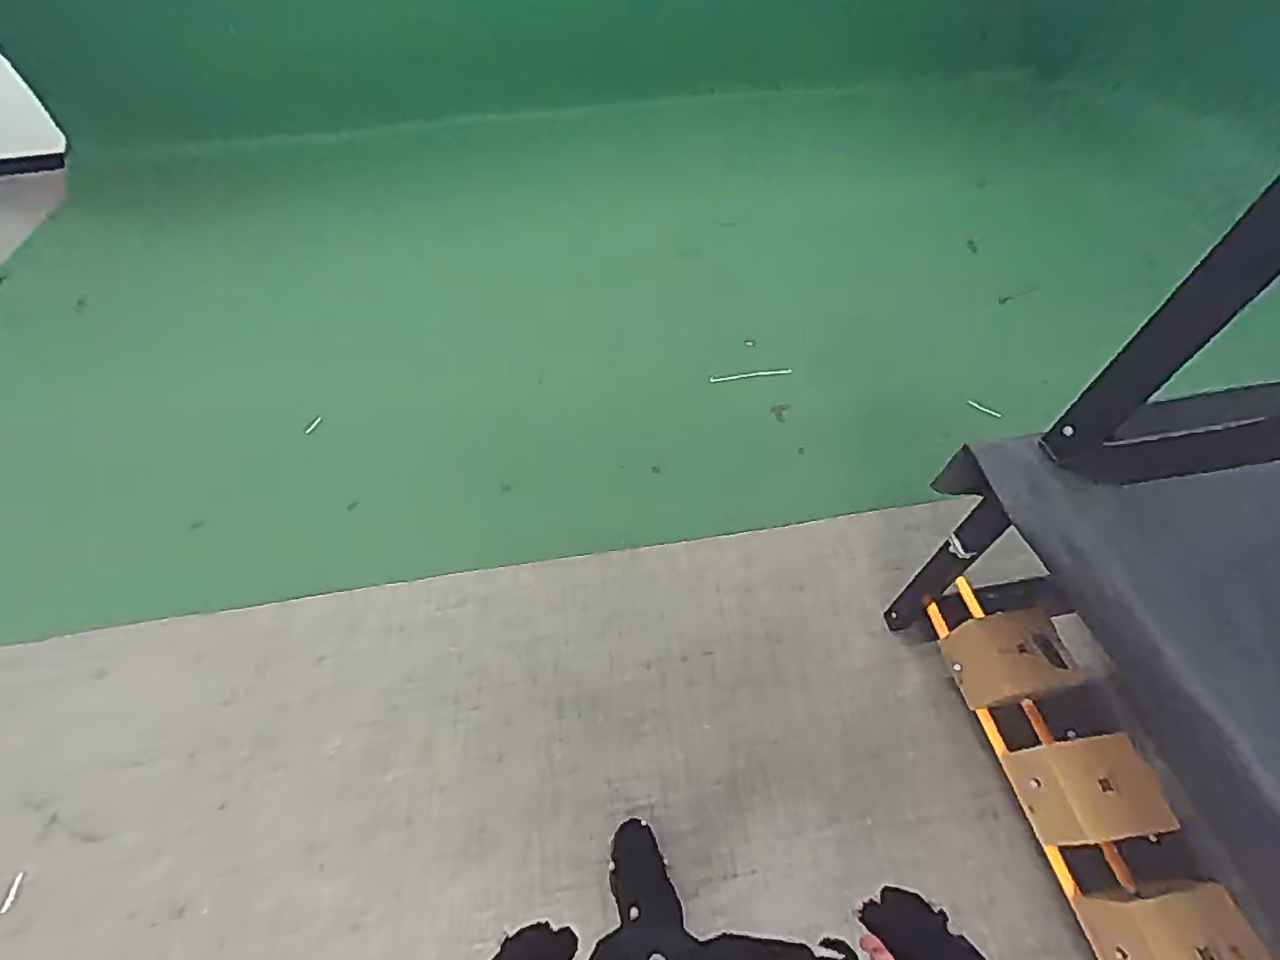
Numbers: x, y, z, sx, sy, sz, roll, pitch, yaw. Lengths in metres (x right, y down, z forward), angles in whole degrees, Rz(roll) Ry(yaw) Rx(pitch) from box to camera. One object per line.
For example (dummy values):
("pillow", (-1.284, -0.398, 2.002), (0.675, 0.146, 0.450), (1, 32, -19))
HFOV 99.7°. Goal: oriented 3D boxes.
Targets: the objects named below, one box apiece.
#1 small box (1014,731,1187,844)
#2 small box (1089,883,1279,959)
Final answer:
("small box", (0.890, 0.615, 1.075), (0.179, 0.176, 0.168), (-8, 55, -2))
("small box", (0.934, 0.810, 0.932), (0.179, 0.176, 0.168), (-9, 55, -3))
